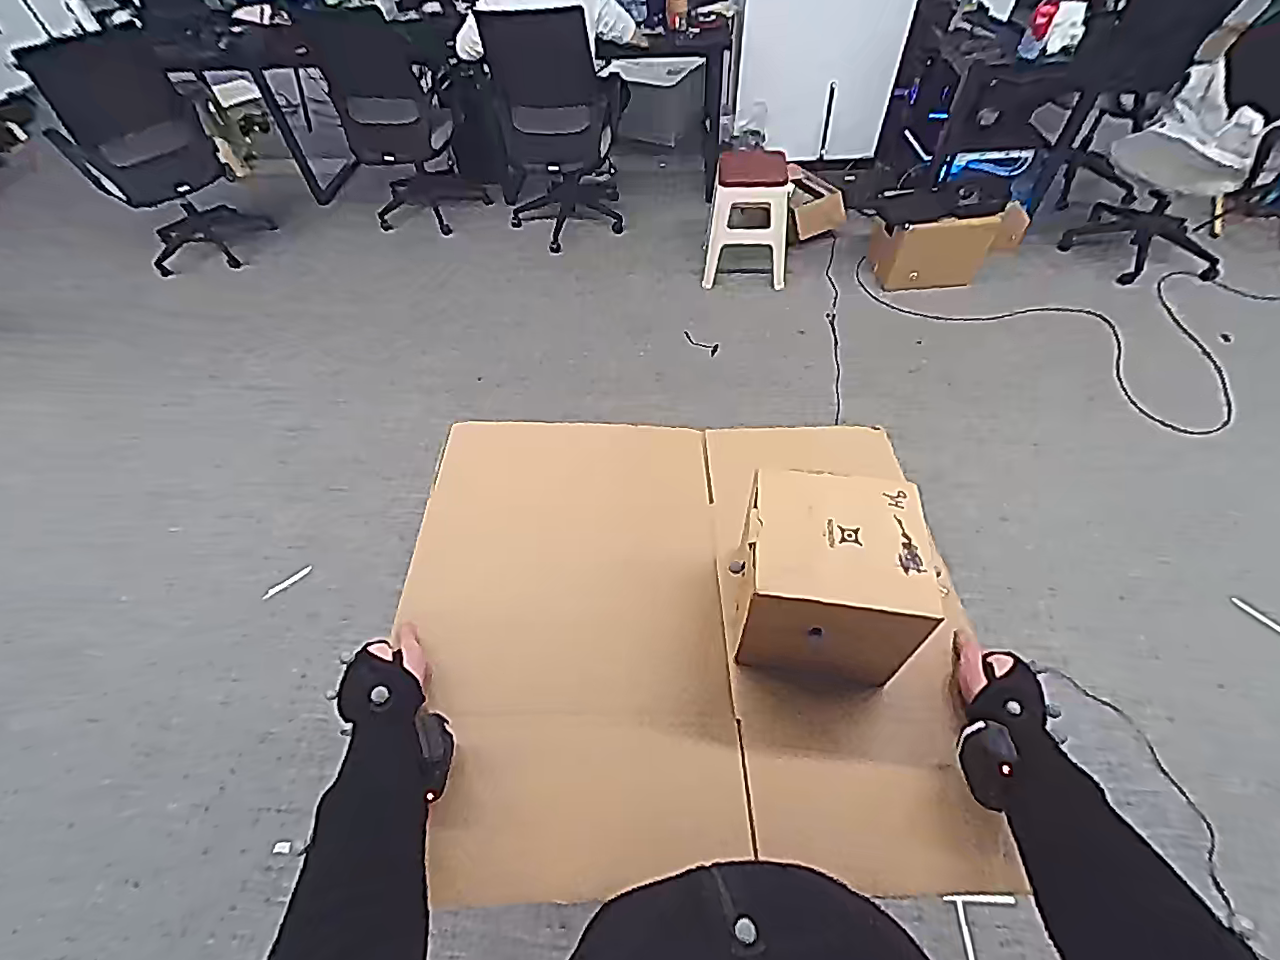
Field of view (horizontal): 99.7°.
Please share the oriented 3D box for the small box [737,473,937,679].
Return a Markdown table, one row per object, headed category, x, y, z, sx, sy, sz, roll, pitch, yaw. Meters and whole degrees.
| category | x | y | z | sx | sy | sz | roll | pitch | yaw |
| --- | --- | --- | --- | --- | --- | --- | --- | --- | --- |
| small box | 0.208 | 0.113 | 0.623 | 0.179 | 0.176 | 0.168 | 6 | 51 | 8 |
